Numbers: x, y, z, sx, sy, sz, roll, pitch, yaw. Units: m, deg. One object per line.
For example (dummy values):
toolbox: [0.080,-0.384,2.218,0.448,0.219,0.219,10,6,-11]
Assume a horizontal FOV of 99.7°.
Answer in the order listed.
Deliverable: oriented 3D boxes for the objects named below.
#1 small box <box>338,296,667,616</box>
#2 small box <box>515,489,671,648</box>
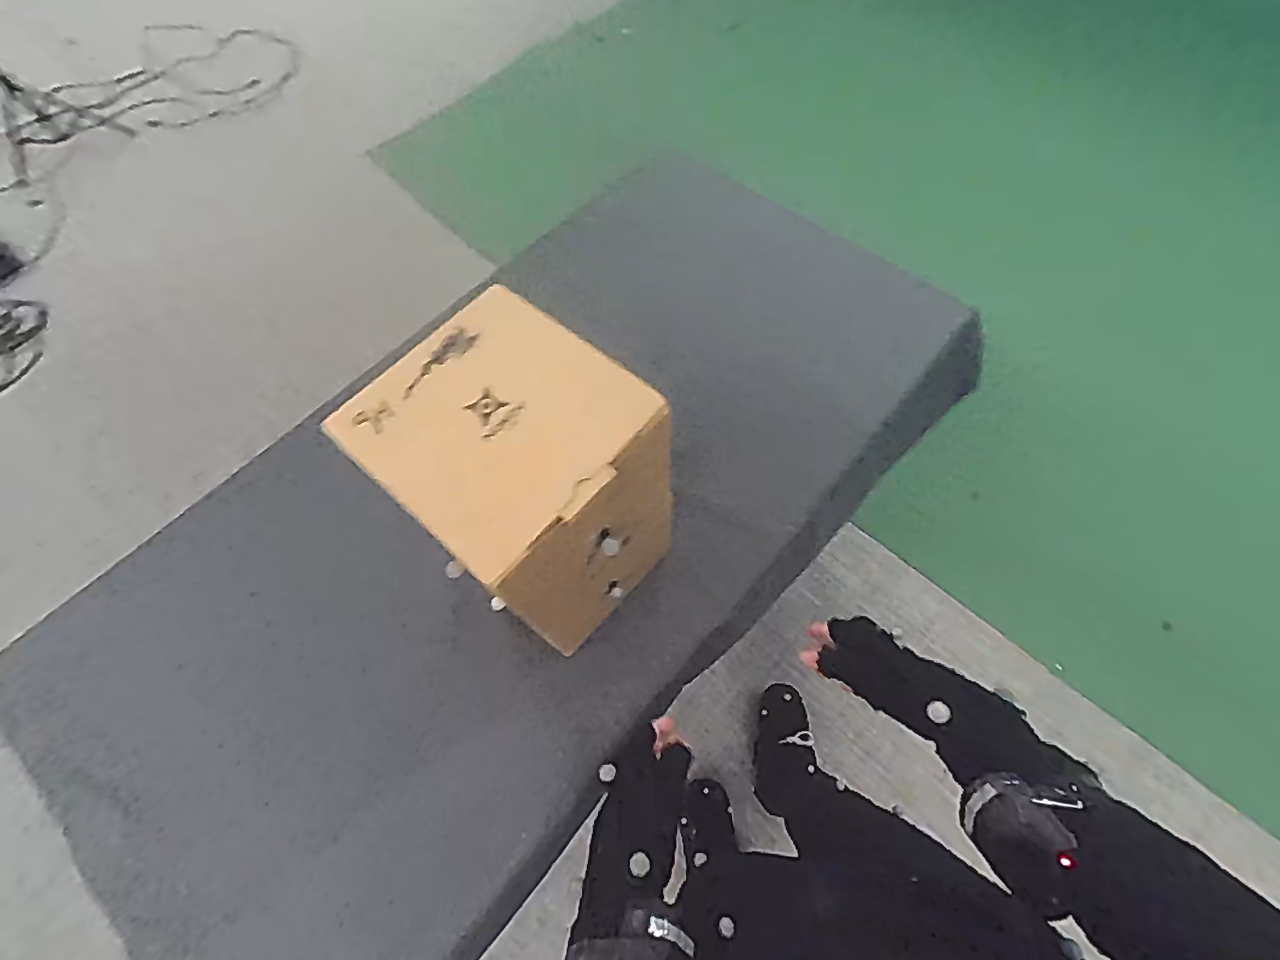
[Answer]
small box: [-0.093,-0.006,0.449,0.179,0.176,0.168,38,72,17]
small box: [-0.084,0.060,0.599,0.168,0.176,0.179,39,73,18]
